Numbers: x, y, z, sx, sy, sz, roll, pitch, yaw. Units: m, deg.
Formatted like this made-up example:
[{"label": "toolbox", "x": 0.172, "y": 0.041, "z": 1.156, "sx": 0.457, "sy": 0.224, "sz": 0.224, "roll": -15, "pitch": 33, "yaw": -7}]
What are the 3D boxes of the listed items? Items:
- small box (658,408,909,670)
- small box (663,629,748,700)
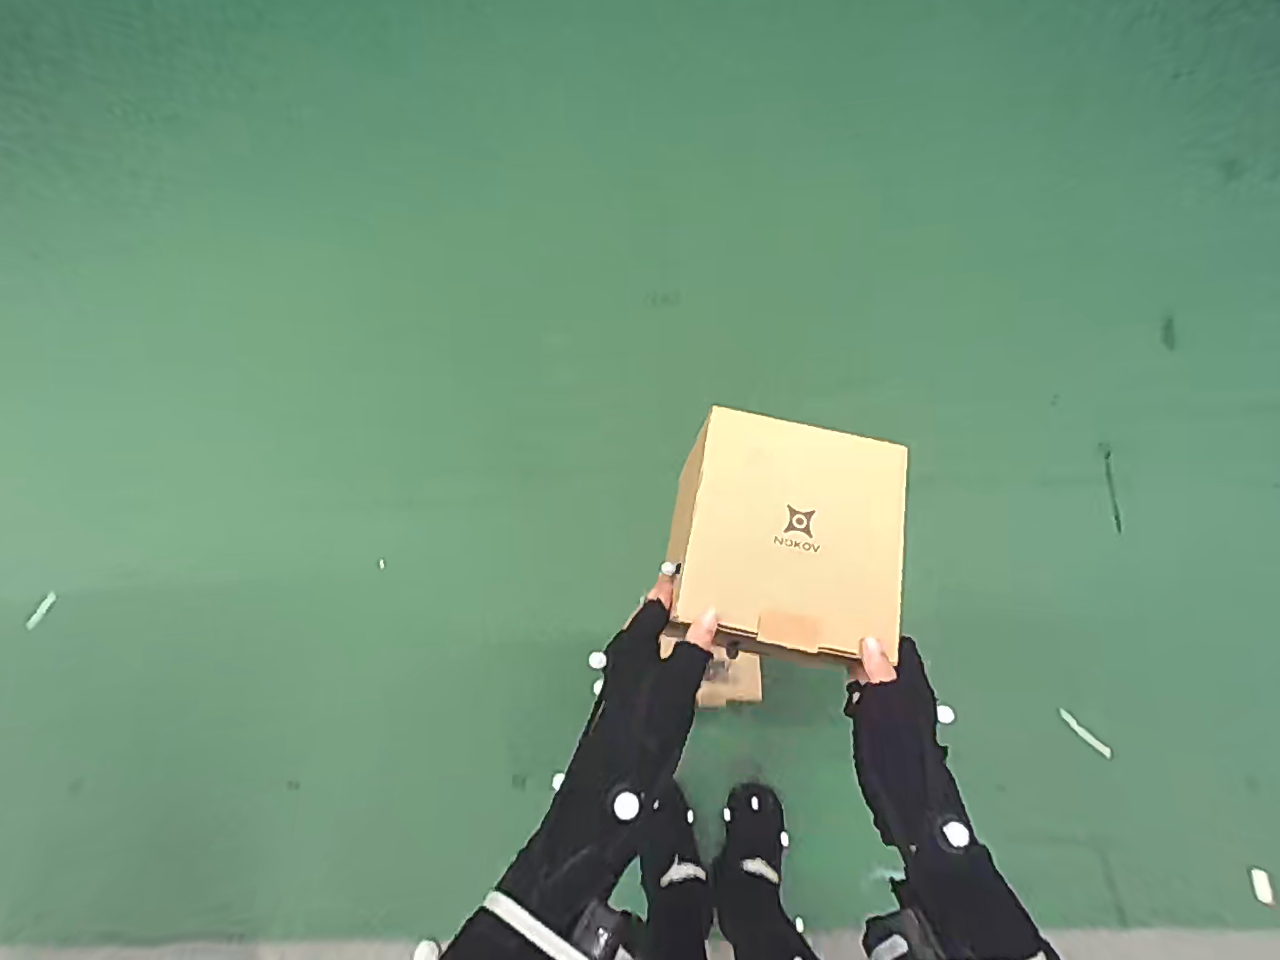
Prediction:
[{"label": "small box", "x": 0.115, "y": 0.063, "z": 0.484, "sx": 0.168, "sy": 0.176, "sz": 0.179, "roll": 12, "pitch": 72, "yaw": -1}, {"label": "small box", "x": 0.133, "y": 0.363, "z": 1.139, "sx": 0.168, "sy": 0.176, "sz": 0.179, "roll": 0, "pitch": 71, "yaw": 3}]
